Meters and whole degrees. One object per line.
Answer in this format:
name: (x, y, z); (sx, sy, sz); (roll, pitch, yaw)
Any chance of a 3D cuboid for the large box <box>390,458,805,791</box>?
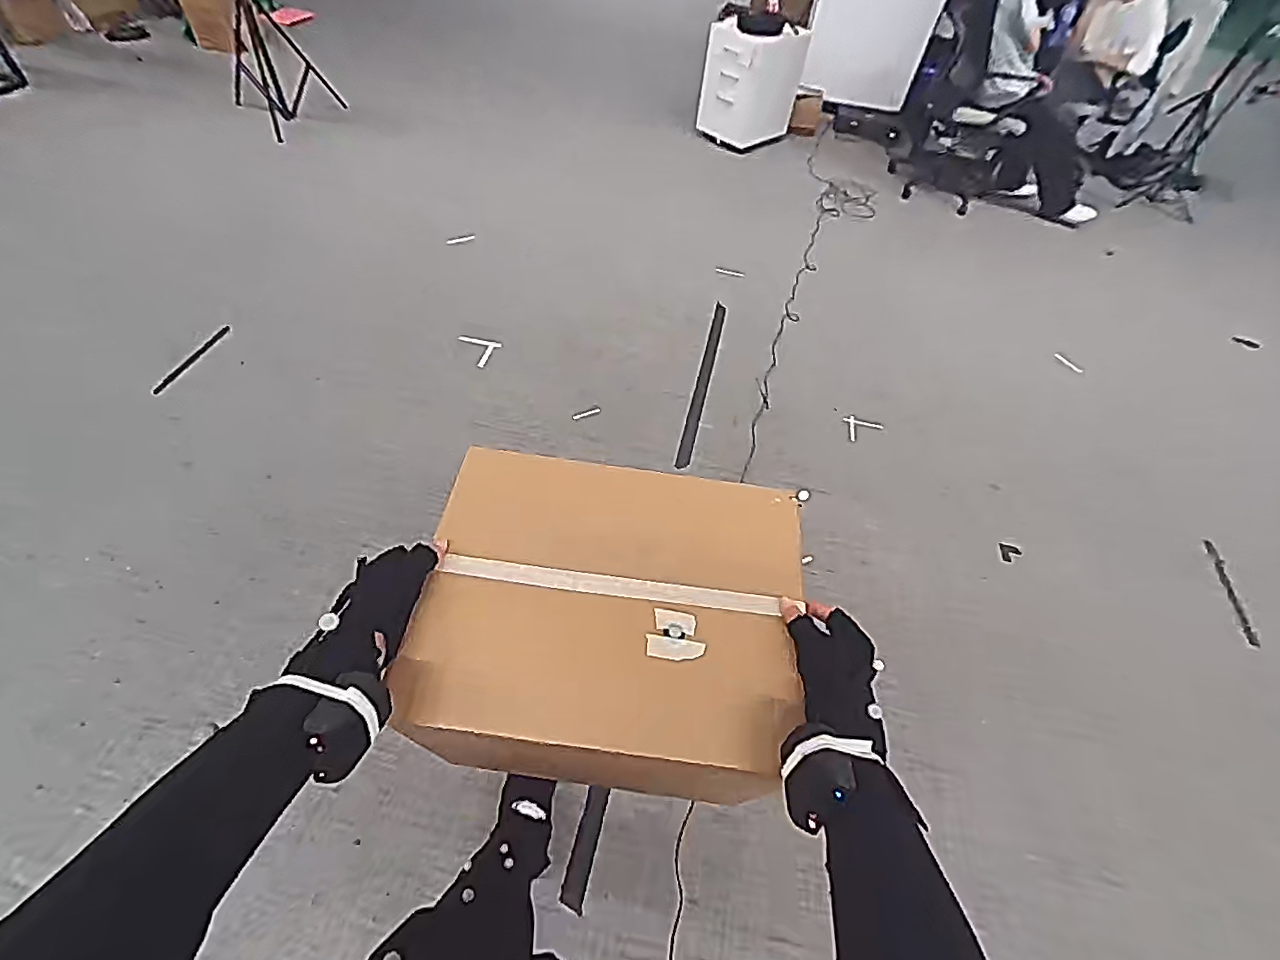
large box: (-0.040, 0.203, 0.713); (0.408, 0.320, 0.320); (8, 56, -1)
